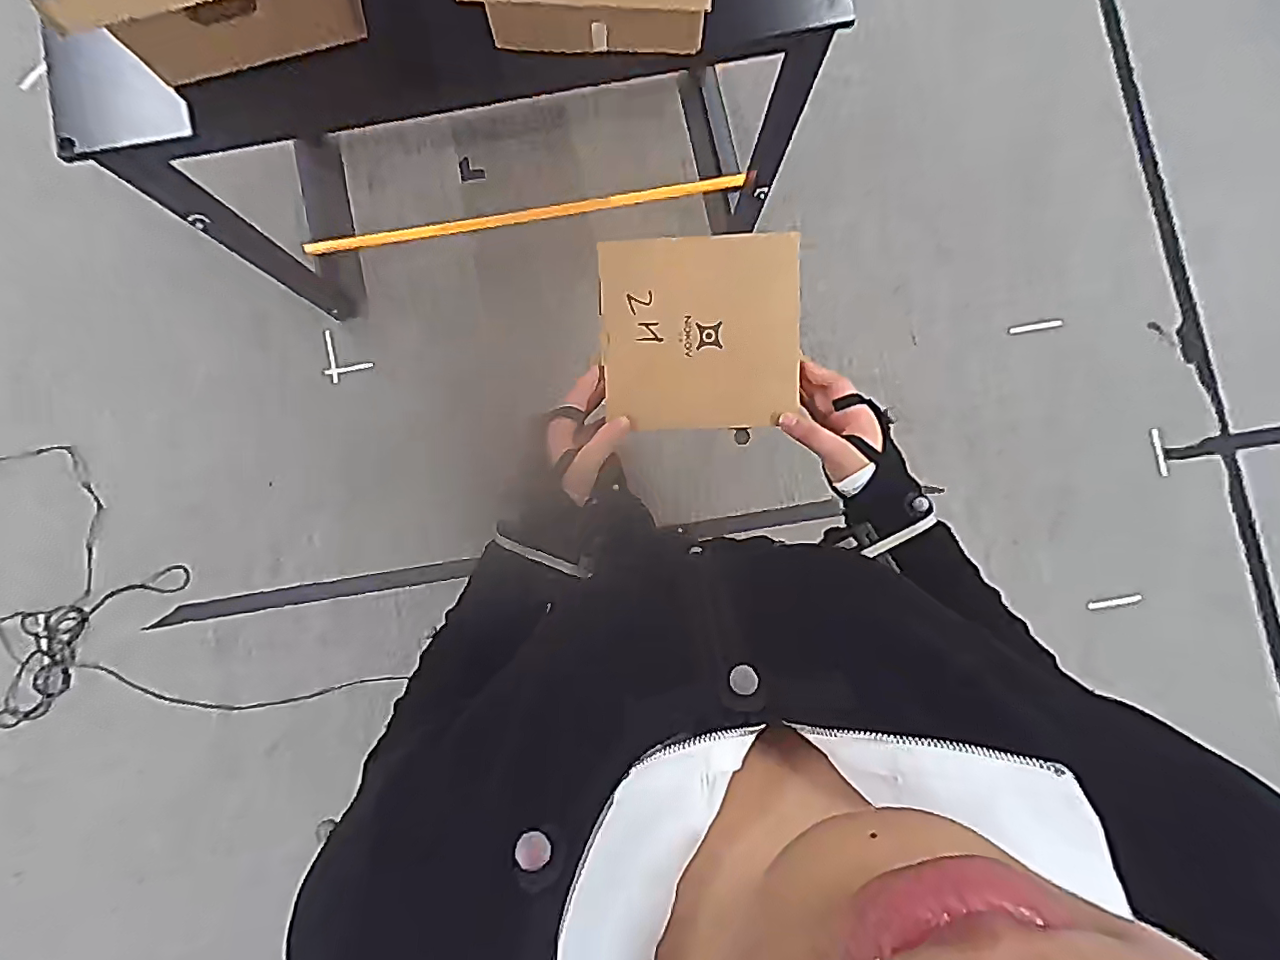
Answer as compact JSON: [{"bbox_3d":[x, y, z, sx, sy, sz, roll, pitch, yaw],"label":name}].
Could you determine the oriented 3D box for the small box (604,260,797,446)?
[{"bbox_3d":[0.058,-0.125,0.572,0.179,0.176,0.168,-1,97,3],"label":"small box"}]
